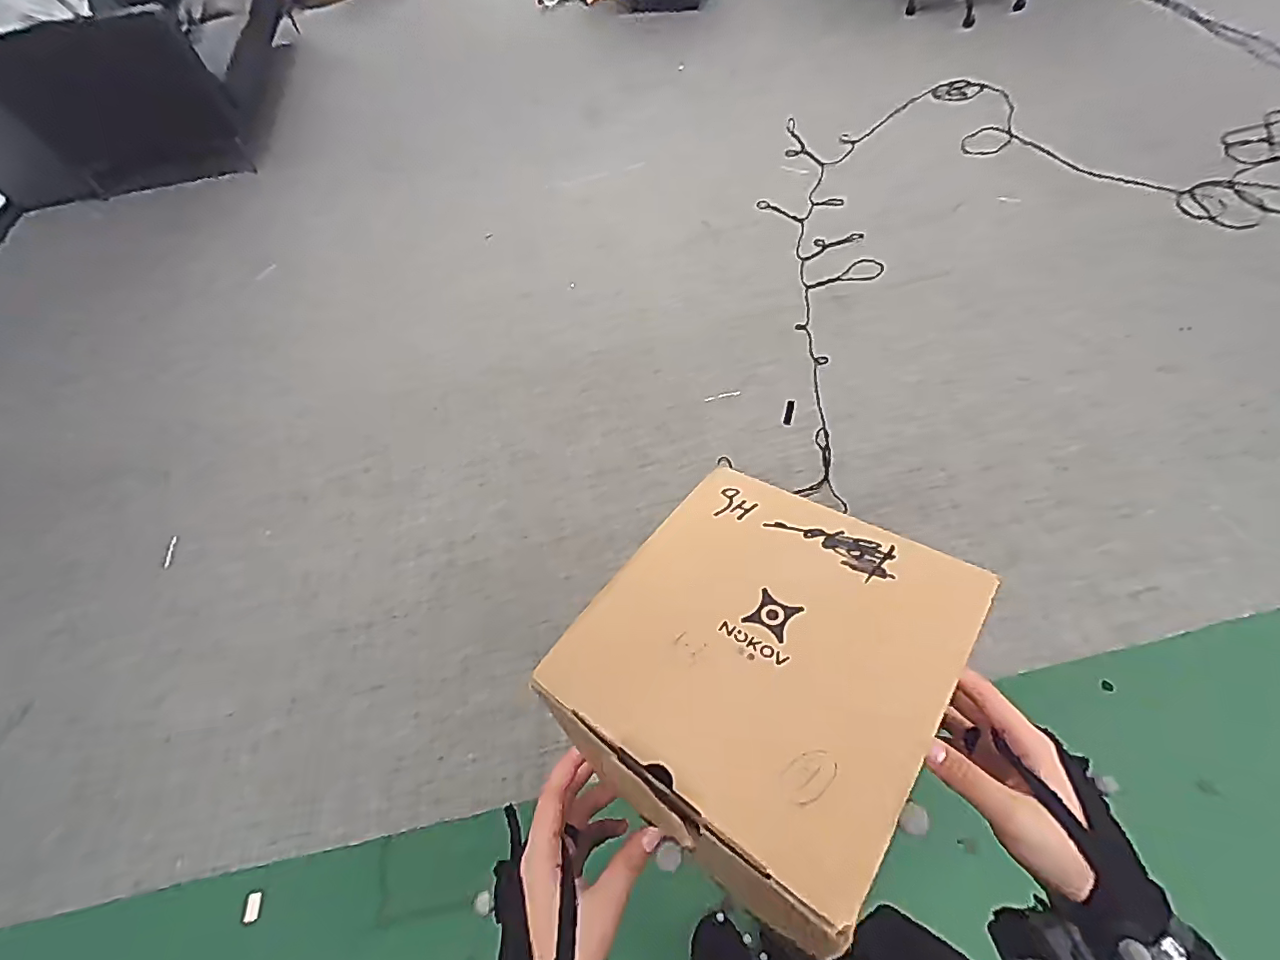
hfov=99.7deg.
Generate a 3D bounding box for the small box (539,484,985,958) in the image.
[{"bbox_3d":[0.075,0.140,0.330,0.168,0.176,0.179,24,56,33],"label":"small box"}]
